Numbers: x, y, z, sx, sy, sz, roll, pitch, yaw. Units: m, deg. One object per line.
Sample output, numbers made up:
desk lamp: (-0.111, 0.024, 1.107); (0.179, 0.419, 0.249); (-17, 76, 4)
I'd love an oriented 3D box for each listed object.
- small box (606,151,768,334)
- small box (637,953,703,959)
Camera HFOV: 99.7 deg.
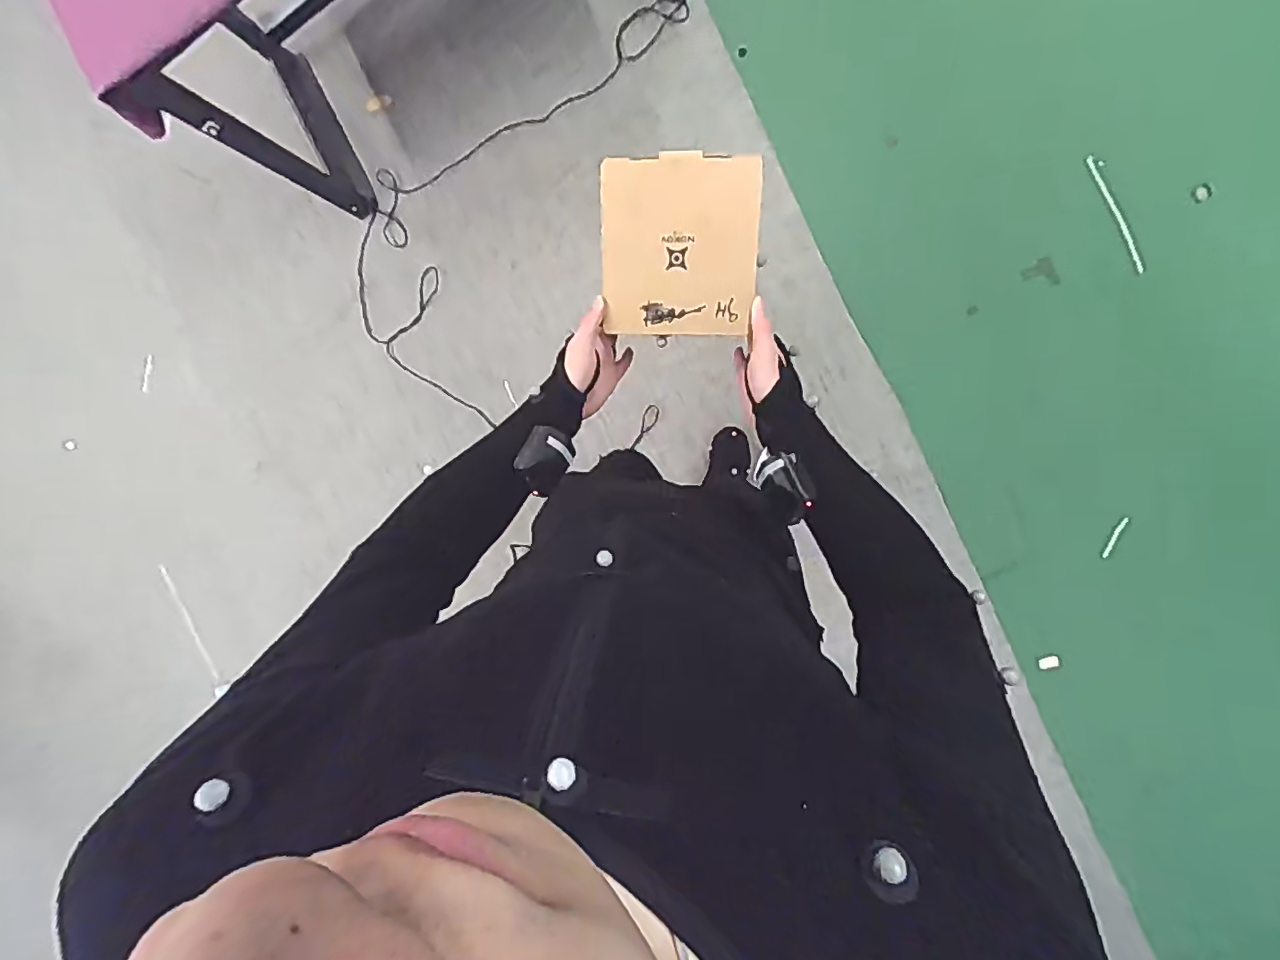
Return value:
small box: (0.055, -0.267, 0.642); (0.168, 0.176, 0.179); (3, 107, 9)
small box: (0.067, 1.081, 1.050); (0.168, 0.176, 0.179); (-17, 91, 11)
